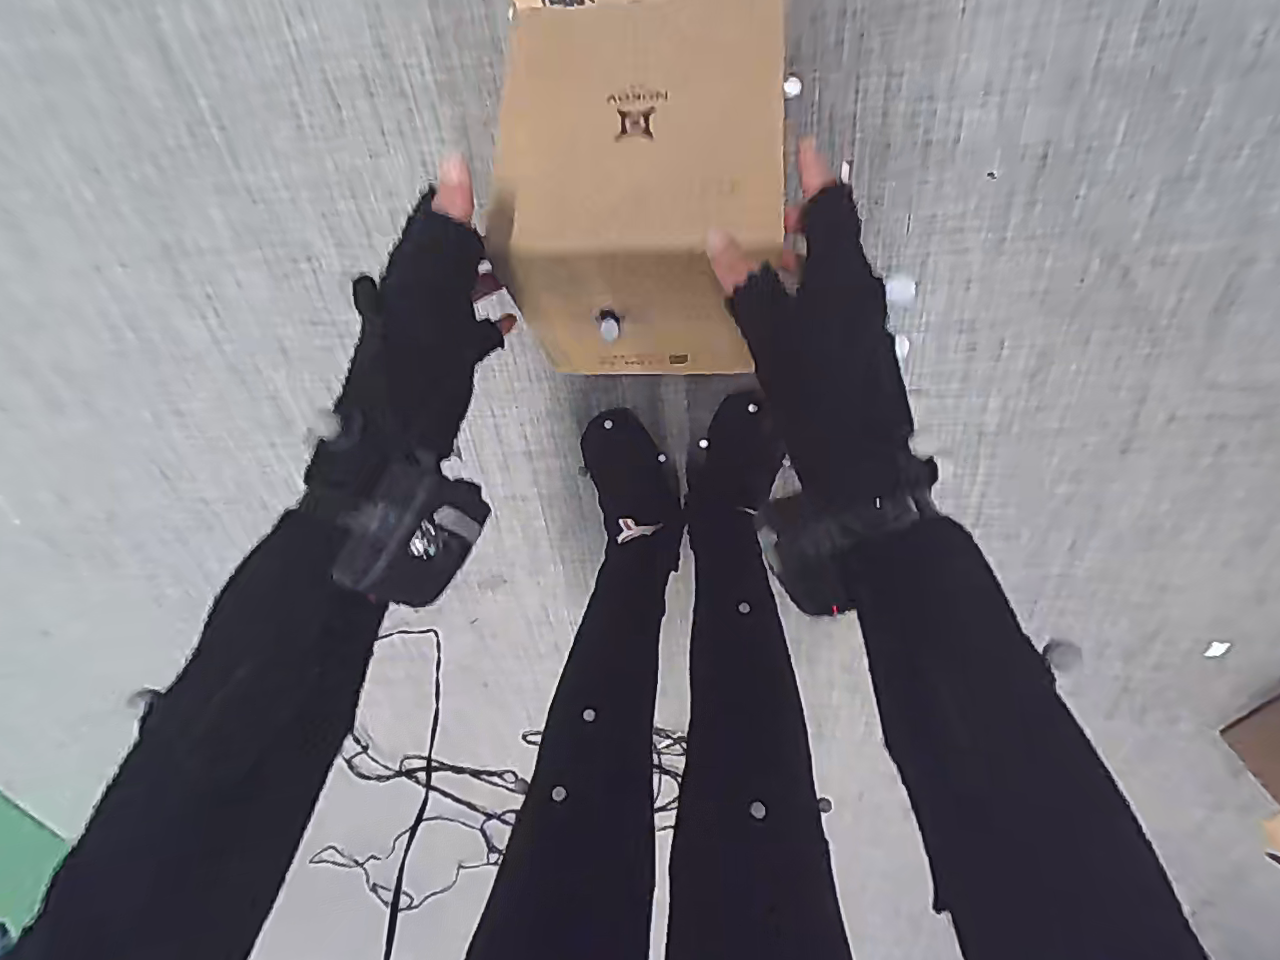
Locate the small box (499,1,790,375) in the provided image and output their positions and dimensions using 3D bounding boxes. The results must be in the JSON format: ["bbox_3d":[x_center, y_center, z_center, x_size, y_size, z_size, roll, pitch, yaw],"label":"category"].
[{"bbox_3d":[0.012,-0.185,0.392,0.168,0.176,0.179,2,80,7],"label":"small box"}]
